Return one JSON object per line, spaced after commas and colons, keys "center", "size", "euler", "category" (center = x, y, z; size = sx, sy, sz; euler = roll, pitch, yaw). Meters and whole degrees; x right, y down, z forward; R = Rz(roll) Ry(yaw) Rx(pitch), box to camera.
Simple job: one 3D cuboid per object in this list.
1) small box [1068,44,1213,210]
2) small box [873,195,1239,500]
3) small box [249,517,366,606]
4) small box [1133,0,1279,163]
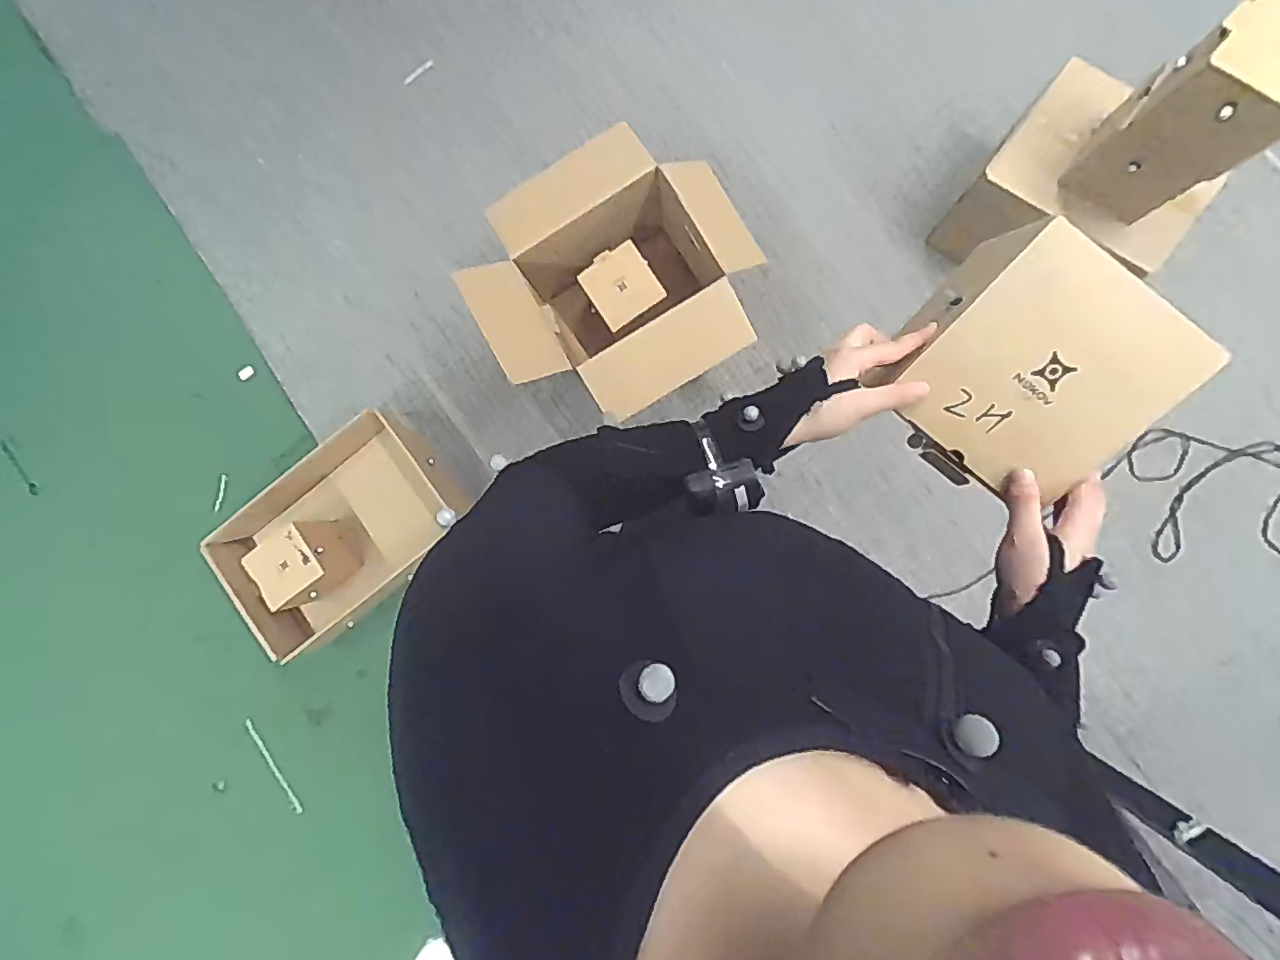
{"center": [0.987, -0.659, 1.034], "size": [0.179, 0.176, 0.168], "euler": [37, 93, 6], "category": "small box"}
{"center": [0.342, -0.116, 0.496], "size": [0.168, 0.176, 0.179], "euler": [40, 111, 2], "category": "small box"}
{"center": [-0.890, 0.216, 1.462], "size": [0.179, 0.176, 0.168], "euler": [-37, 83, 3], "category": "small box"}
{"center": [0.978, -0.655, 0.871], "size": [0.179, 0.176, 0.168], "euler": [37, 94, 7], "category": "small box"}
